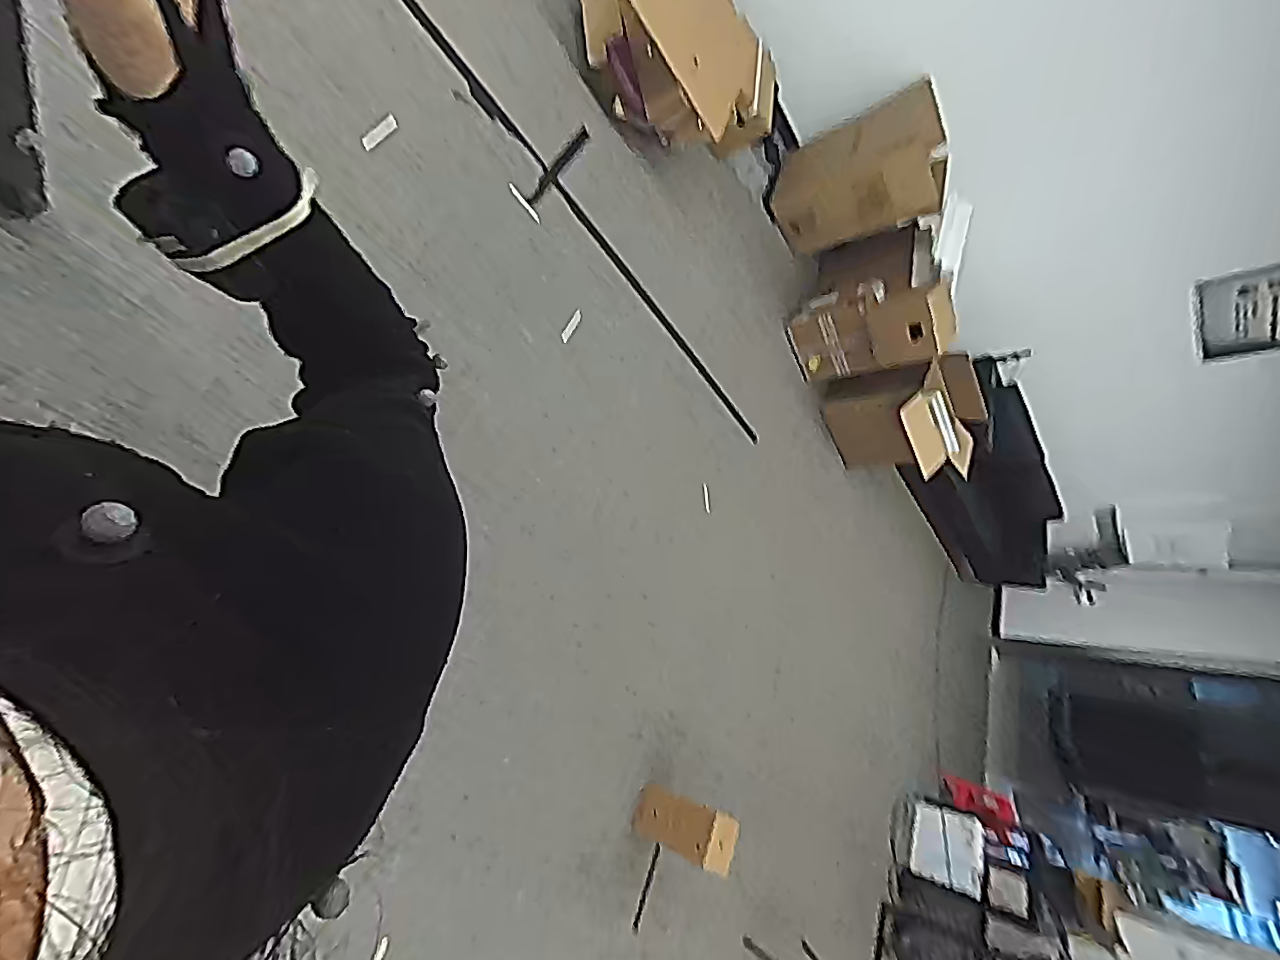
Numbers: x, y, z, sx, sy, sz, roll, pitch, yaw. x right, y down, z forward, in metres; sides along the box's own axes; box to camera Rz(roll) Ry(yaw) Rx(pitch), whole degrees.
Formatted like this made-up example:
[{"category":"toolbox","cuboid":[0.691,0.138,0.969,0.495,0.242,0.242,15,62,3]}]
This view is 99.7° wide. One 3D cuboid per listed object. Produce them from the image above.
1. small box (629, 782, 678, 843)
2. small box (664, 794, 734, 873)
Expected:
[{"category":"small box","cuboid":[0.087,1.283,2.068,0.179,0.176,0.168,45,56,-33]},{"category":"small box","cuboid":[0.209,1.274,1.954,0.168,0.176,0.179,45,55,-34]}]
